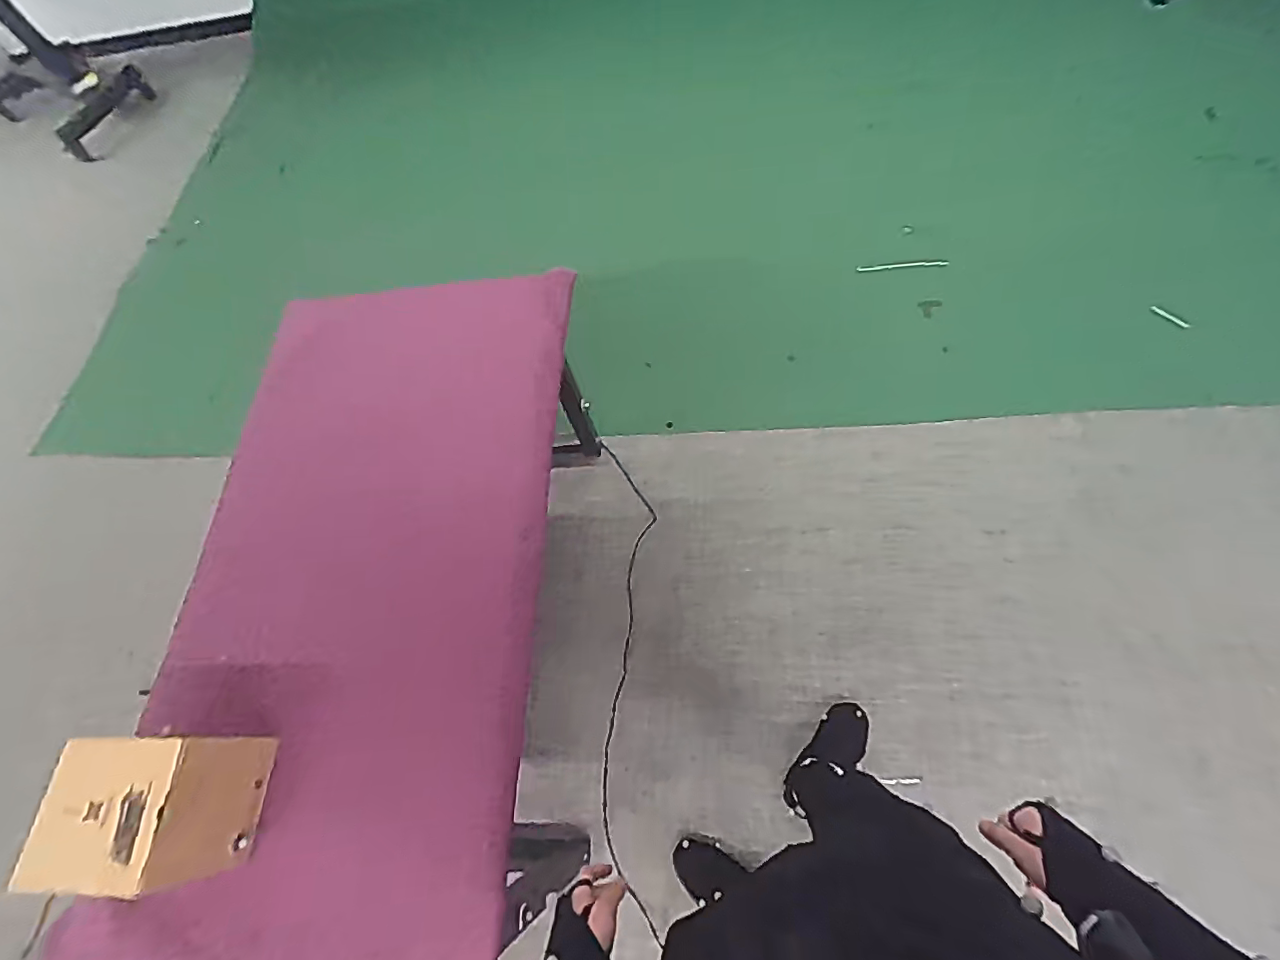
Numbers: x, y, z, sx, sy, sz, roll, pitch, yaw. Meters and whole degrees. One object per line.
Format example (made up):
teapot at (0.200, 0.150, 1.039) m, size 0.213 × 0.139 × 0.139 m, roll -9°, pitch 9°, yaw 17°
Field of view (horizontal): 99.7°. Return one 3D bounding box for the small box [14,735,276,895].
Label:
small box at (-0.648, 0.442, 0.738) m, size 0.179 × 0.176 × 0.168 m, roll -3°, pitch 64°, yaw 8°
